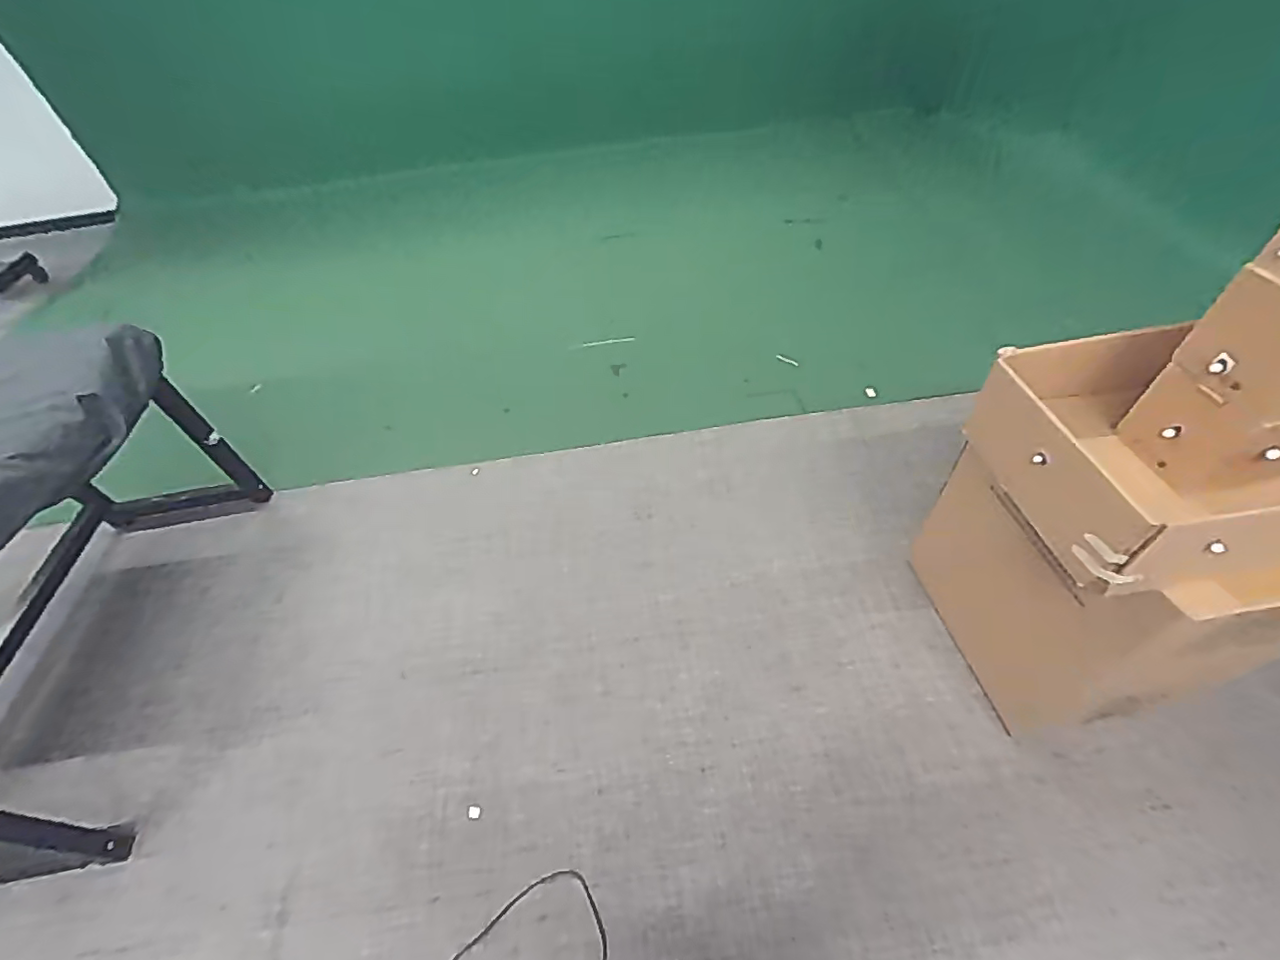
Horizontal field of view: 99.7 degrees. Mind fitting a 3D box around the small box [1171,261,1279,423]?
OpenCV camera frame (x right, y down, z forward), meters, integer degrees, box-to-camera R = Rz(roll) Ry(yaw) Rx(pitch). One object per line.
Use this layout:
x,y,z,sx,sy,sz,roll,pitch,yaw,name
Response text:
0.955,-0.206,0.783,0.179,0.176,0.168,-12,49,-3,small box
